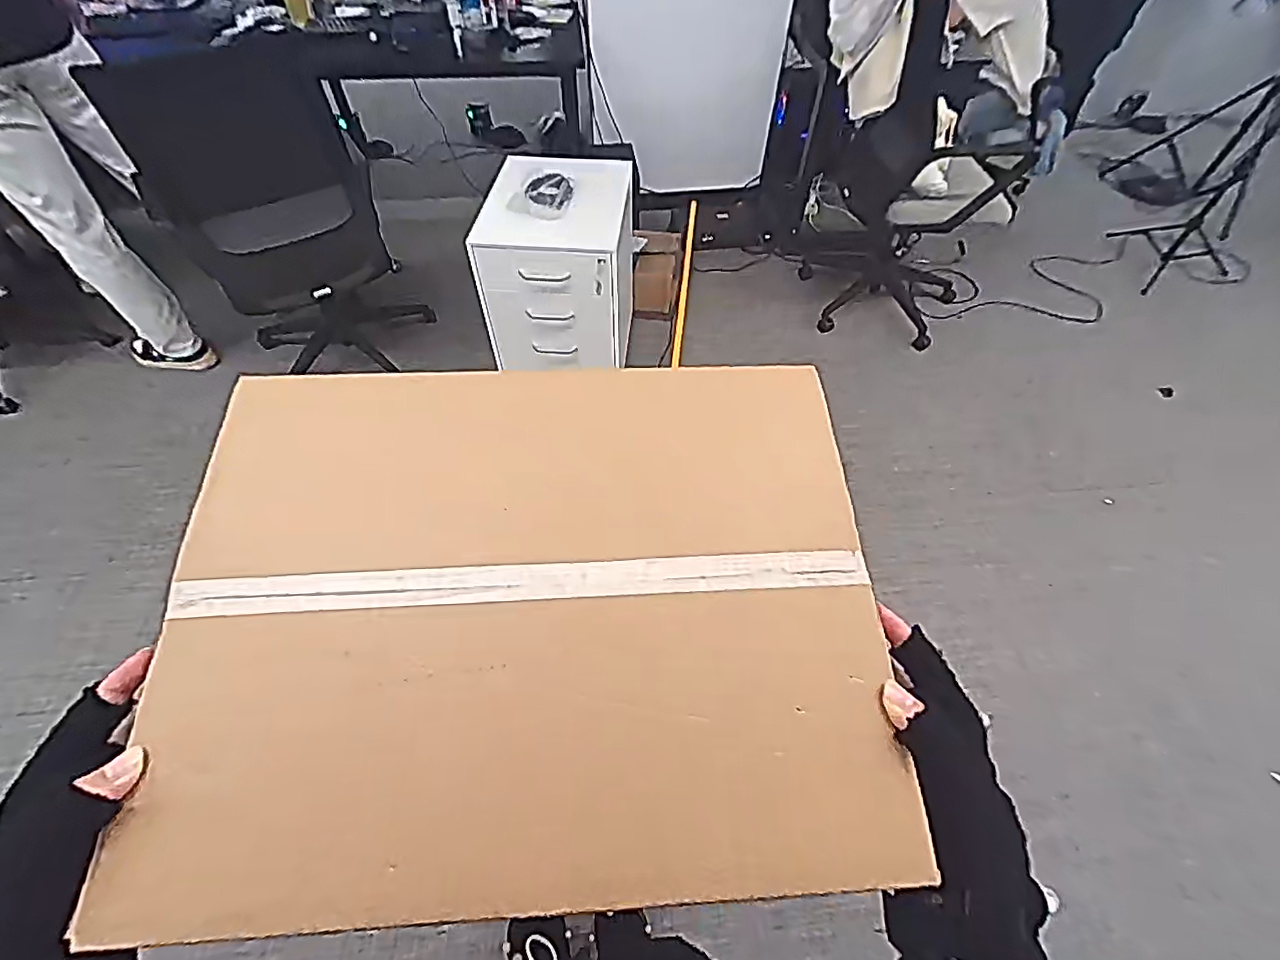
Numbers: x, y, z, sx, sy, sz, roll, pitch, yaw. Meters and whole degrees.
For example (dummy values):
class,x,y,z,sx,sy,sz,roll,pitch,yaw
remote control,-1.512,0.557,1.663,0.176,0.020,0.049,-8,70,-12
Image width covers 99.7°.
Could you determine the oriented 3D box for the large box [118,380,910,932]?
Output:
class,x,y,z,sx,sy,sz,roll,pitch,yaw
large box,-0.070,0.134,0.468,0.408,0.320,0.320,-2,65,-3
